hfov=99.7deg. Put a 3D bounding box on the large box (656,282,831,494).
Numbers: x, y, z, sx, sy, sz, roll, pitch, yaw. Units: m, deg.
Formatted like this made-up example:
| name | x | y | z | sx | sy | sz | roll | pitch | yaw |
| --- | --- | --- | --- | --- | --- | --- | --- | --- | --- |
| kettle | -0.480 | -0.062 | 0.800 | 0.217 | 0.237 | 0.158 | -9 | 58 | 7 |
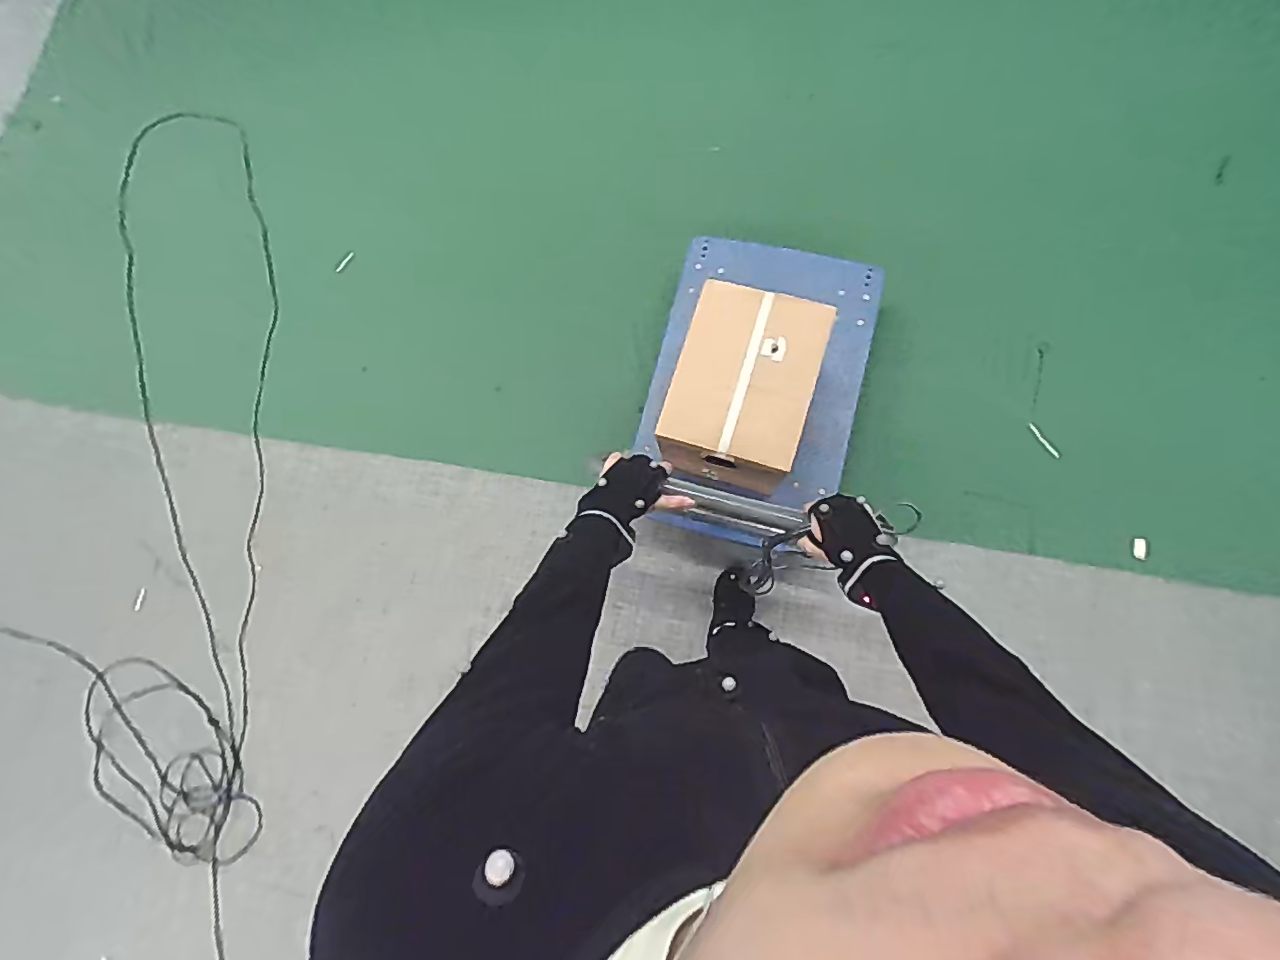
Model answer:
| name | x | y | z | sx | sy | sz | roll | pitch | yaw |
| --- | --- | --- | --- | --- | --- | --- | --- | --- | --- |
| large box | 0.255 | -0.215 | 1.374 | 0.320 | 0.320 | 0.408 | 17 | 81 | 9 |
